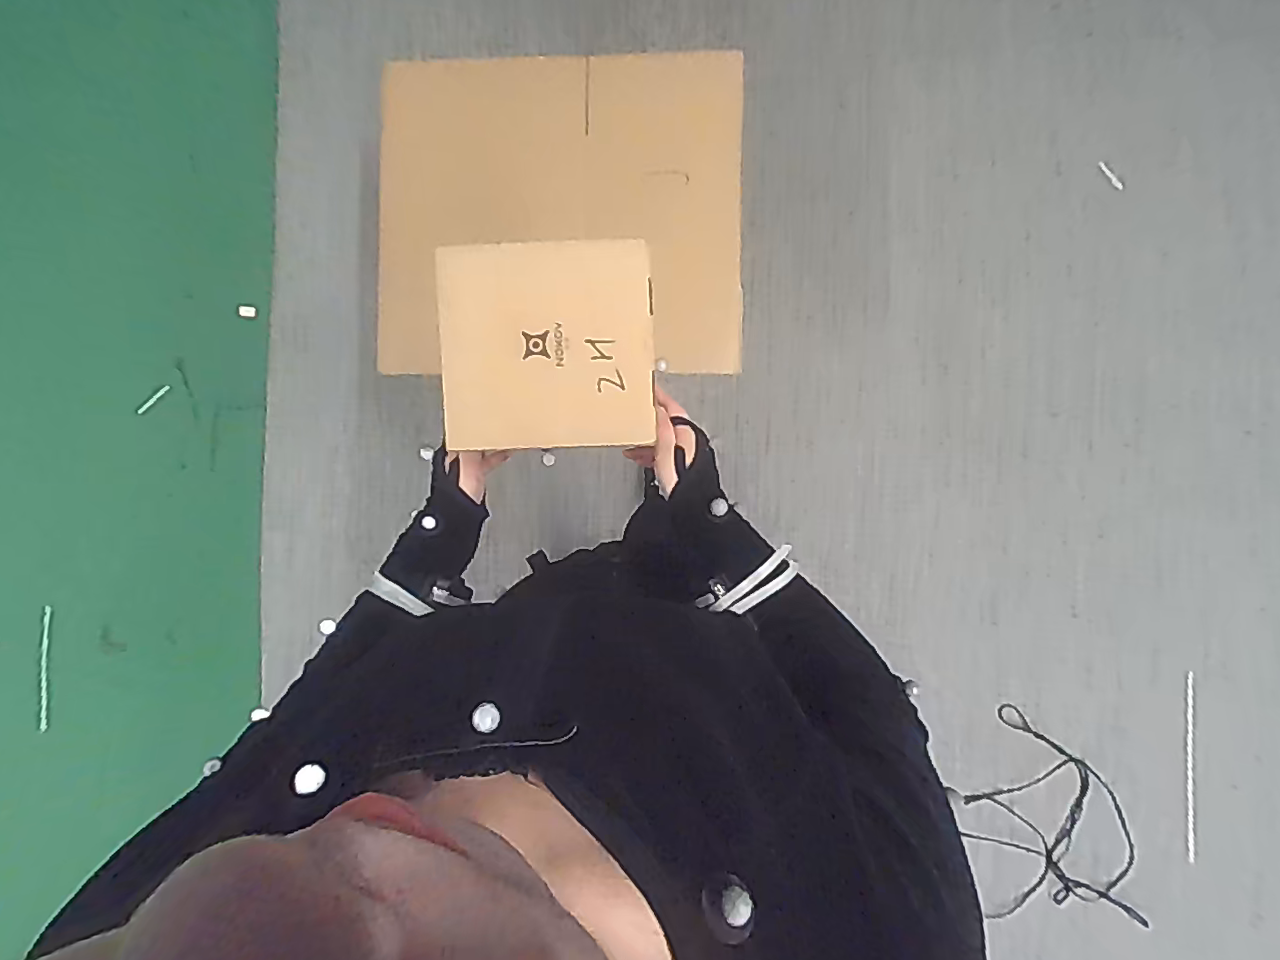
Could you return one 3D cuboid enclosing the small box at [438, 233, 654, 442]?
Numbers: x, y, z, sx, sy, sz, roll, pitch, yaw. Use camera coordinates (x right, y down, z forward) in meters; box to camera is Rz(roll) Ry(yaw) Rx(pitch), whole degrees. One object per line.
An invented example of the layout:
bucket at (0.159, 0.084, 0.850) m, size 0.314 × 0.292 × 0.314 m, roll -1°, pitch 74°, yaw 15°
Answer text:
small box at (-0.075, -0.120, 0.519) m, size 0.179 × 0.176 × 0.168 m, roll -1°, pitch 94°, yaw 1°
